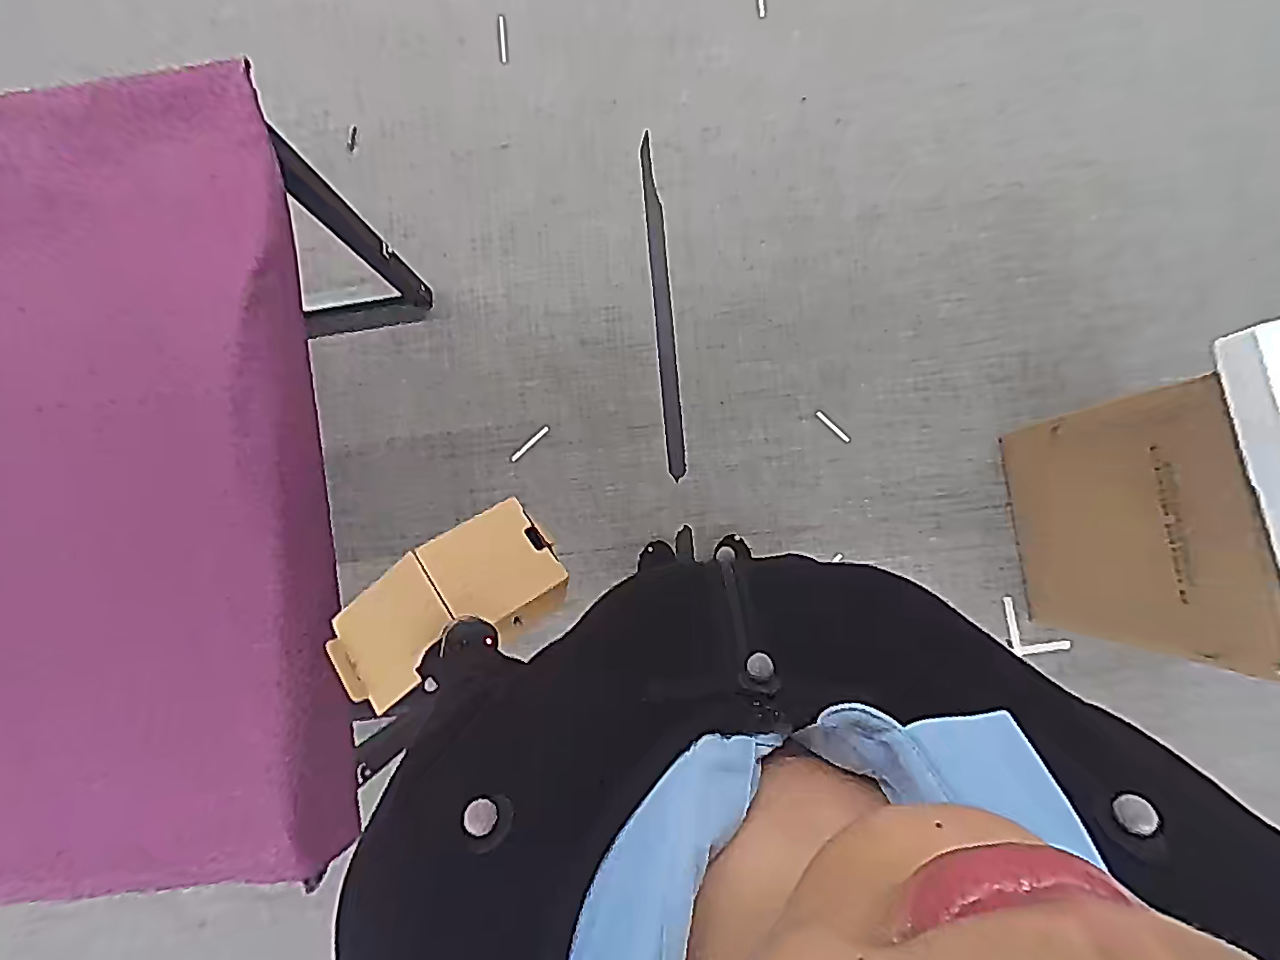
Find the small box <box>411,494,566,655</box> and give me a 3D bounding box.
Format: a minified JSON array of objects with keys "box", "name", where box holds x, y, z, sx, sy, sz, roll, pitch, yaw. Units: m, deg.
[{"box":[-0.237,0.159,0.872,0.179,0.176,0.168,-30,73,-24],"name":"small box"}]
